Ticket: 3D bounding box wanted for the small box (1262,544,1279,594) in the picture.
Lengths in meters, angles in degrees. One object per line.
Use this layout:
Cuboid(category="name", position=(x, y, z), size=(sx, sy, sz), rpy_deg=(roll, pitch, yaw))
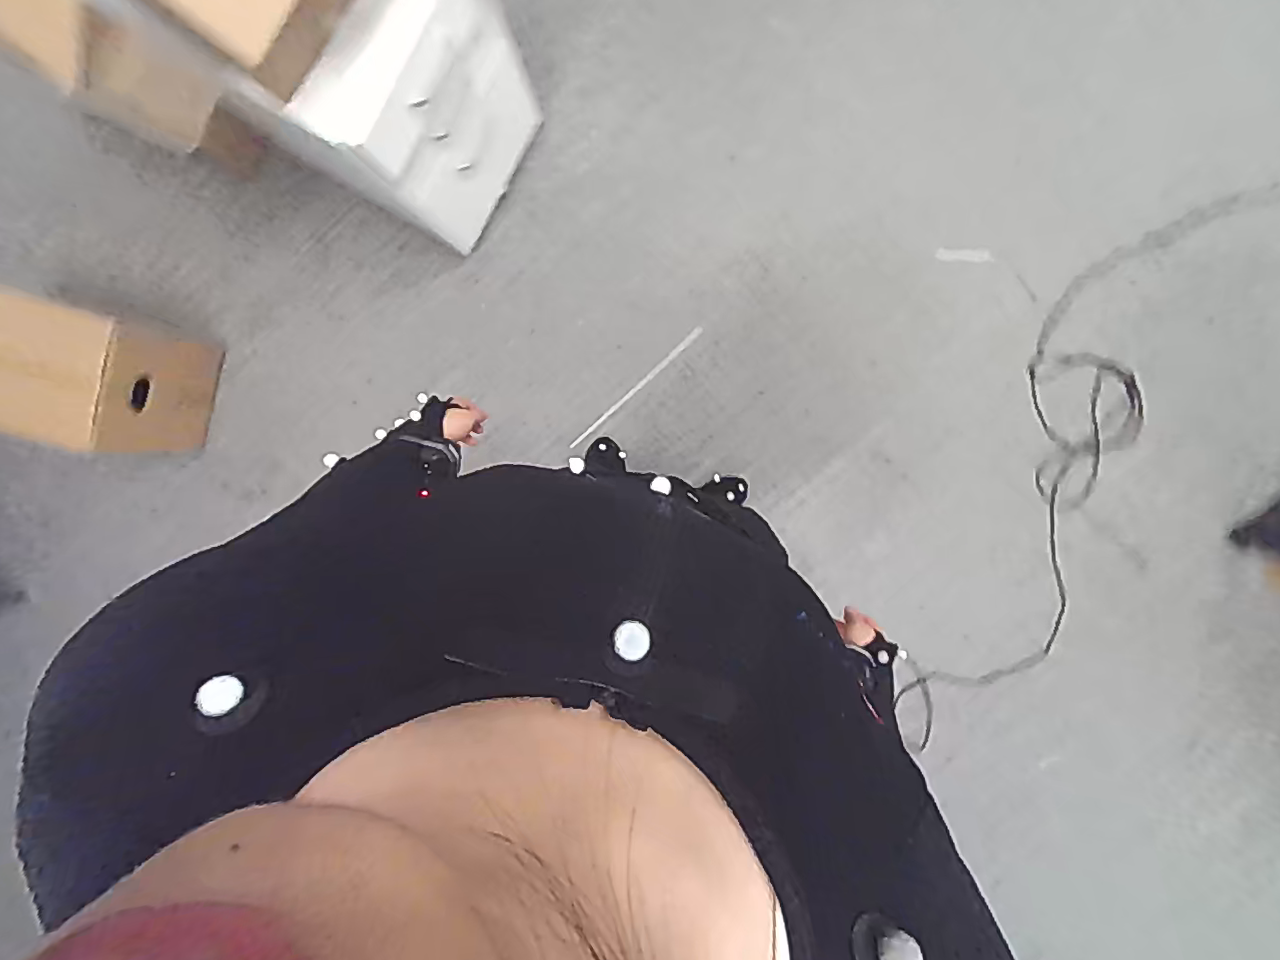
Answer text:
Cuboid(category="small box", position=(1.731, 0.233, 1.343), size=(0.179, 0.176, 0.168), rpy_deg=(-38, 92, 5))
